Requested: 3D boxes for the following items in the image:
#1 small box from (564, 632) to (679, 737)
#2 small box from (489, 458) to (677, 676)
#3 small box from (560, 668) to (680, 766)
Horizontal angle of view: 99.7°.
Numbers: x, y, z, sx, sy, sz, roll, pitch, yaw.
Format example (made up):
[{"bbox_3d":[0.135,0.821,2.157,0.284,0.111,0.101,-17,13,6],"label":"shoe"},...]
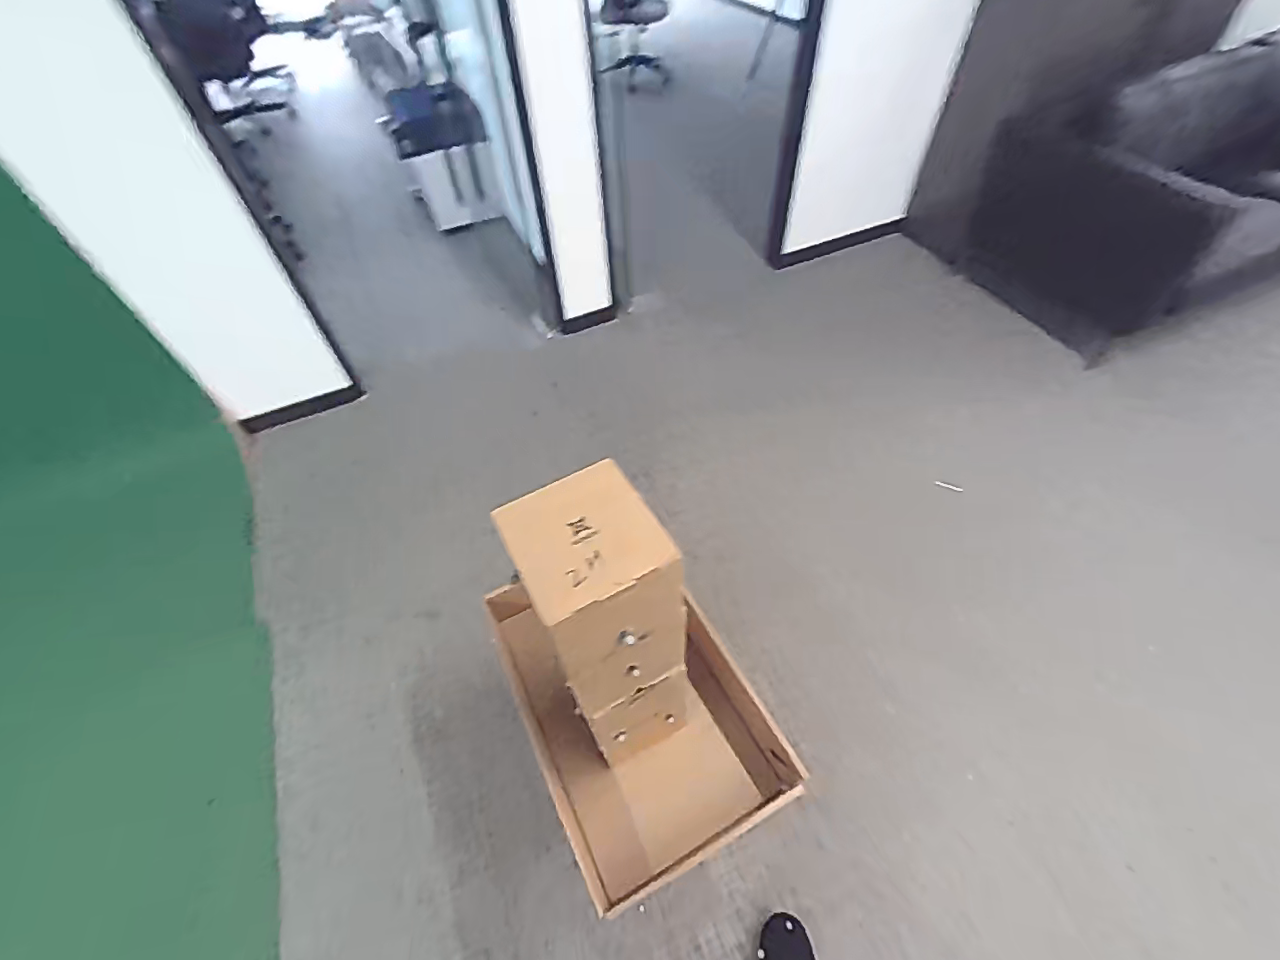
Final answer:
[{"bbox_3d":[-0.043,0.318,0.935,0.168,0.176,0.179,-23,52,-16],"label":"small box"},{"bbox_3d":[-0.067,0.110,0.680,0.168,0.176,0.179,-25,53,-16],"label":"small box"},{"bbox_3d":[-0.034,0.426,1.058,0.179,0.176,0.168,-24,53,-16],"label":"small box"}]
